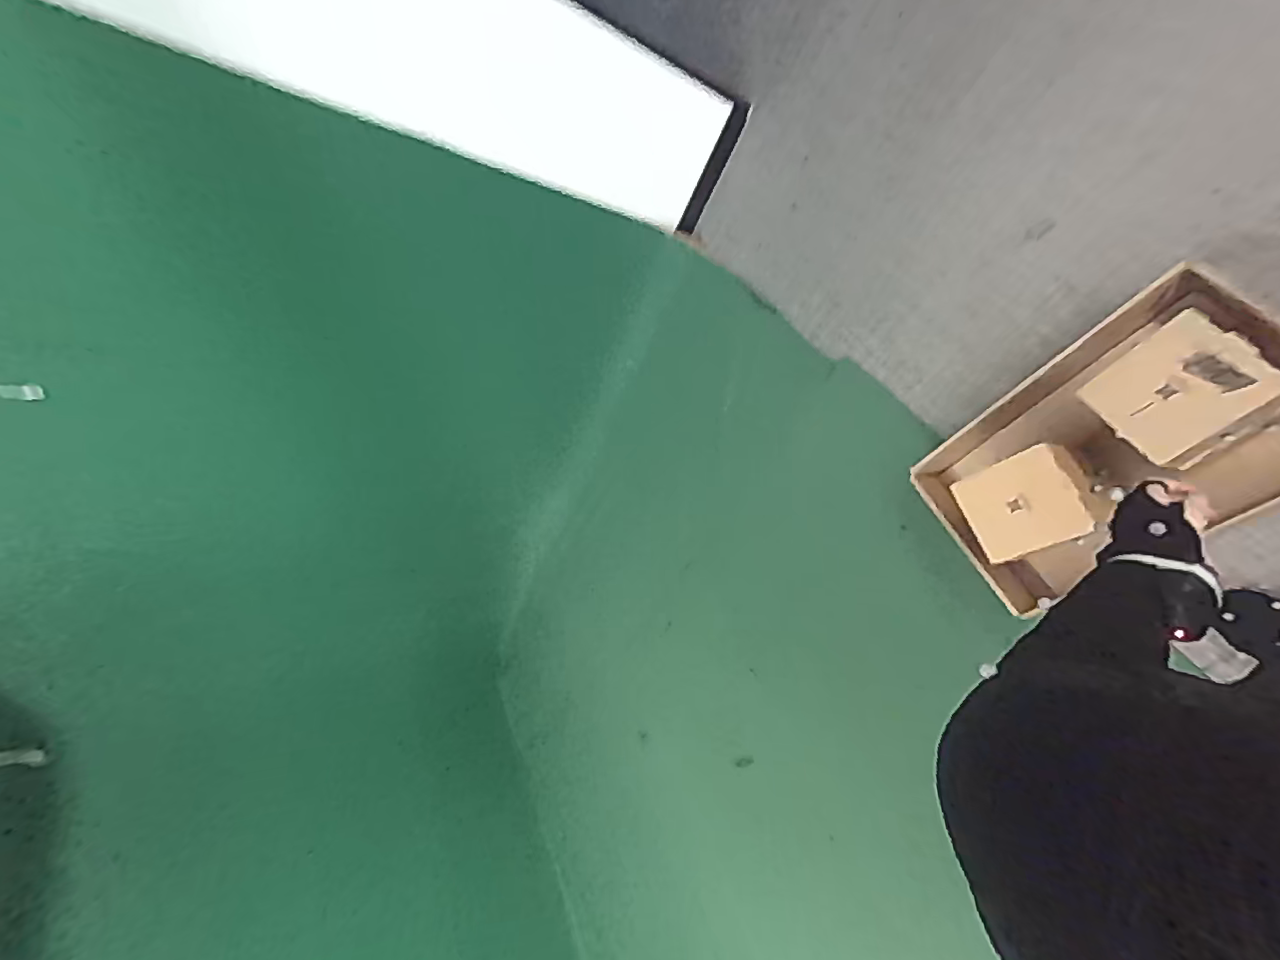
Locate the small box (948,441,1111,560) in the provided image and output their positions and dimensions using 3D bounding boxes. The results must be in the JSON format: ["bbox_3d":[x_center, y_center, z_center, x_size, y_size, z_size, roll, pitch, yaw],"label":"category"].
[{"bbox_3d":[0.737,0.043,1.026,0.179,0.176,0.168,-38,60,42],"label":"small box"}]

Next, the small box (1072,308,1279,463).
[{"bbox_3d":[0.860,-0.144,0.868,0.179,0.176,0.168,-53,52,39],"label":"small box"}]
